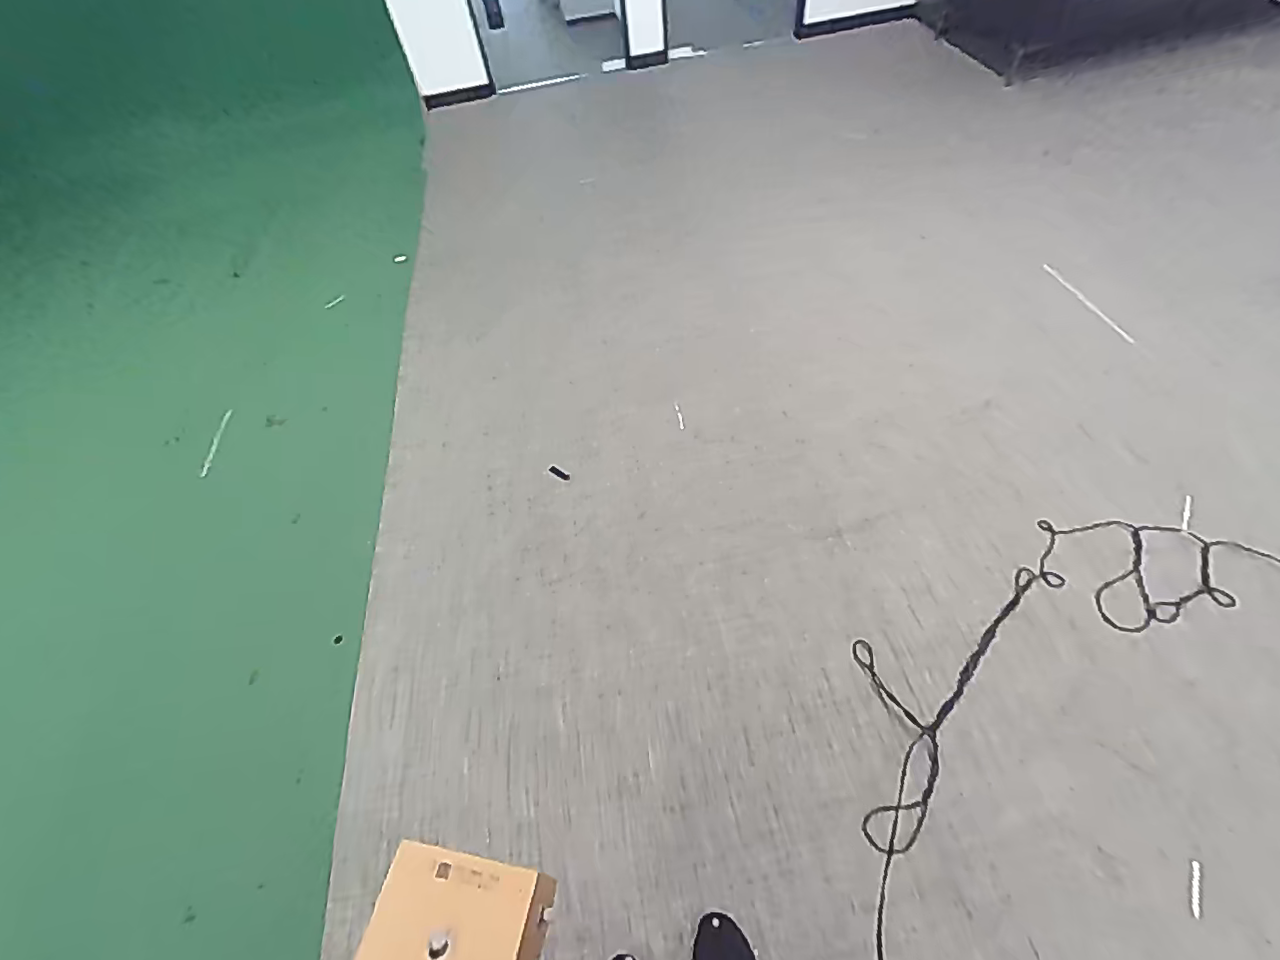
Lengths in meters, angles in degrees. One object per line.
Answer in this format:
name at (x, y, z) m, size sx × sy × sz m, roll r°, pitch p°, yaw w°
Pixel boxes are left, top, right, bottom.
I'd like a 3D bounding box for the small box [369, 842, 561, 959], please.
small box at (-0.199, 0.535, 0.626) m, size 0.168 × 0.179 × 0.176 m, roll 8°, pitch 53°, yaw 7°
